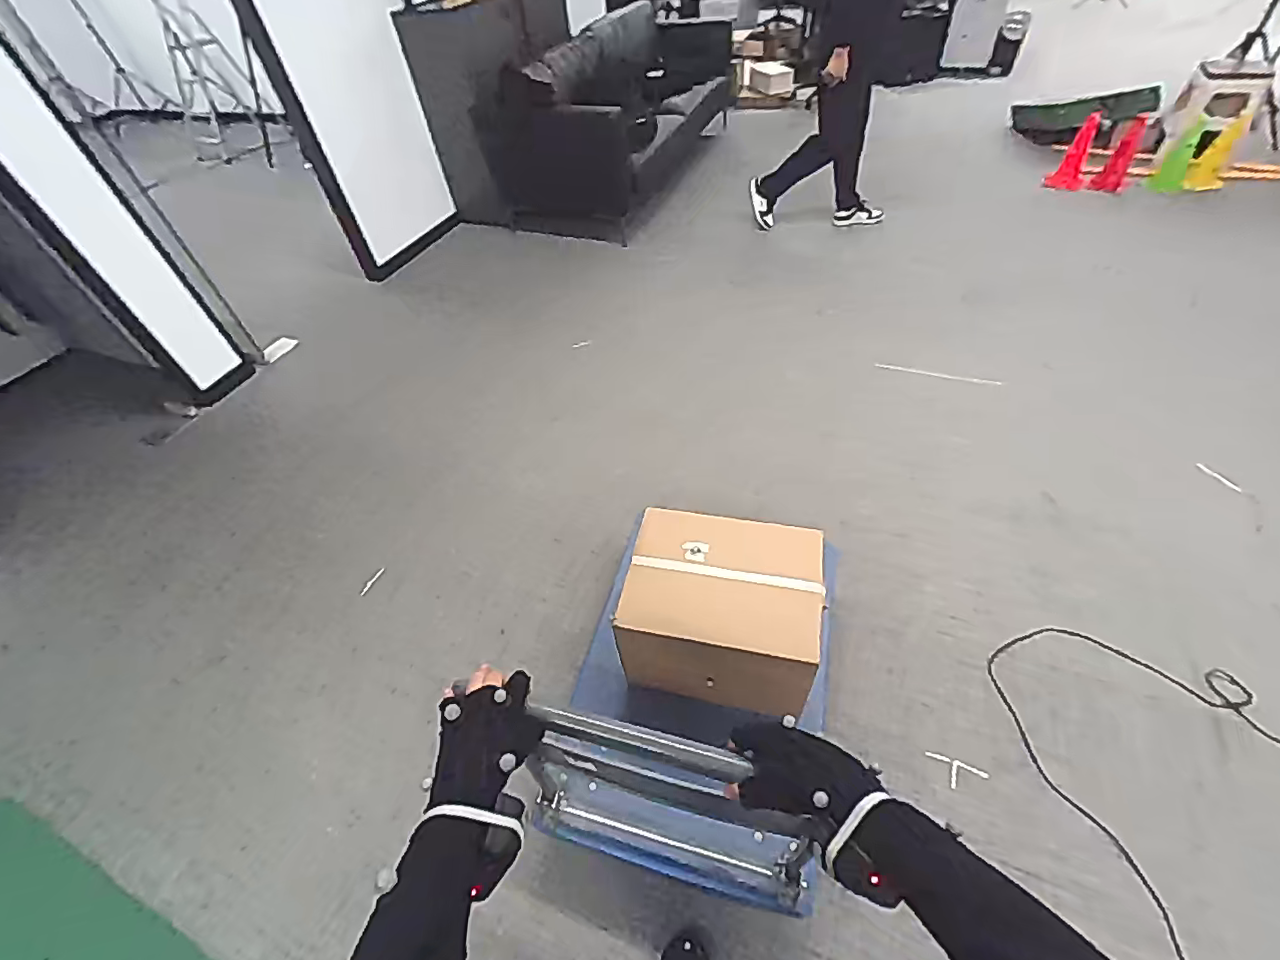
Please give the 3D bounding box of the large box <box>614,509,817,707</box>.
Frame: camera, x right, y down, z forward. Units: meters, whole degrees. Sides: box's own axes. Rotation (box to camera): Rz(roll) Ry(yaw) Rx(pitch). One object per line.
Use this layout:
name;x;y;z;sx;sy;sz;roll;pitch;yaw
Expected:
large box;0.188;0.298;1.265;0.408;0.320;0.320;6;49;13
